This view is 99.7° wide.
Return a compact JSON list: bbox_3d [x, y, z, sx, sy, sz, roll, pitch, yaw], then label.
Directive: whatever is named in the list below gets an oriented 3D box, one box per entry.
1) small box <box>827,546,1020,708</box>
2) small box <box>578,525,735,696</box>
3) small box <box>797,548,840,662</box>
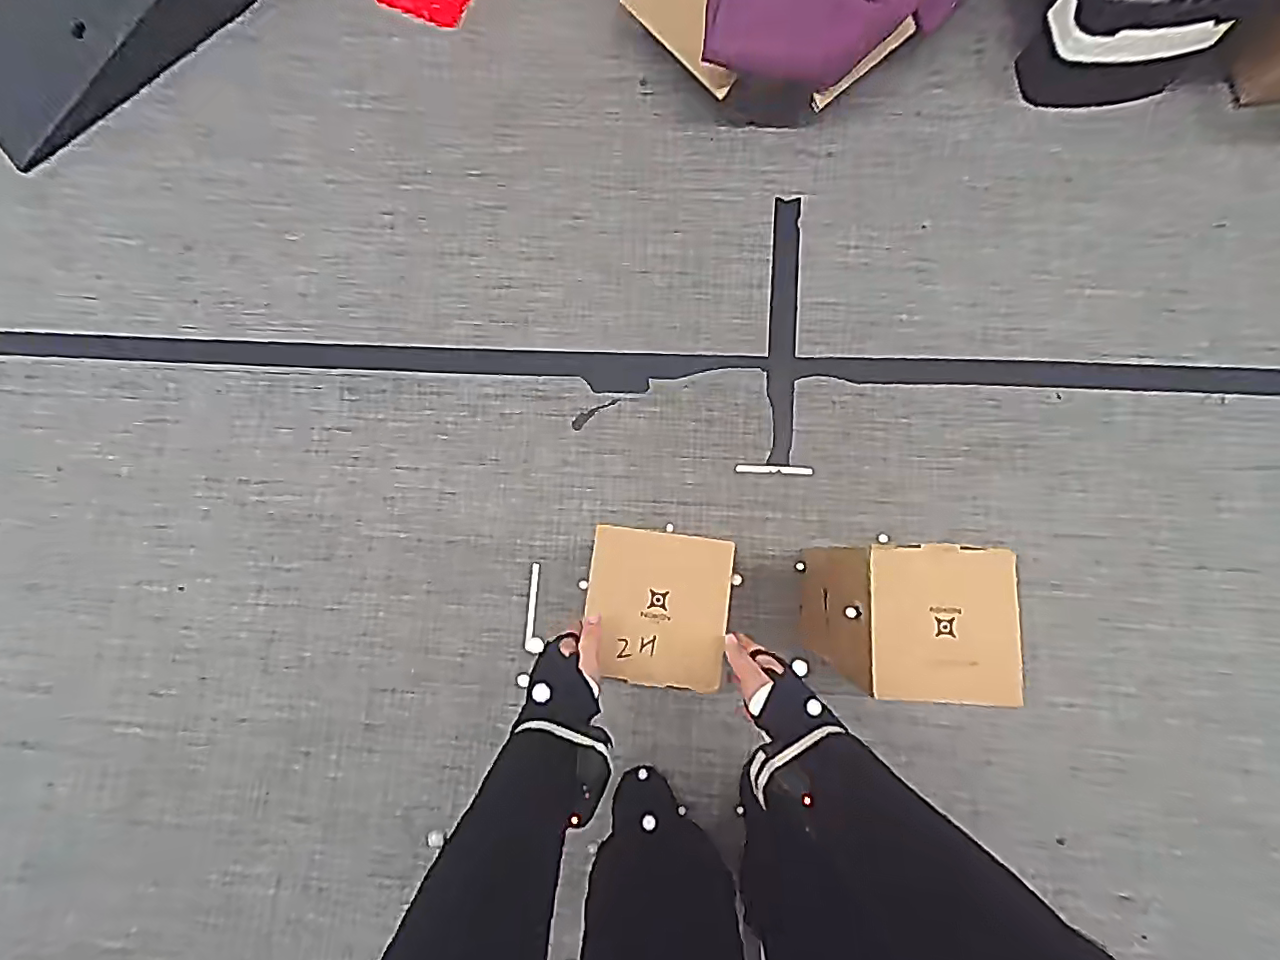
[{"bbox_3d":[0.346,0.176,0.693,0.168,0.176,0.179,1,83,3],"label":"small box"},{"bbox_3d":[0.022,0.159,0.701,0.168,0.176,0.179,7,83,3],"label":"small box"},{"bbox_3d":[0.356,0.200,0.854,0.179,0.176,0.168,6,82,2],"label":"small box"}]
